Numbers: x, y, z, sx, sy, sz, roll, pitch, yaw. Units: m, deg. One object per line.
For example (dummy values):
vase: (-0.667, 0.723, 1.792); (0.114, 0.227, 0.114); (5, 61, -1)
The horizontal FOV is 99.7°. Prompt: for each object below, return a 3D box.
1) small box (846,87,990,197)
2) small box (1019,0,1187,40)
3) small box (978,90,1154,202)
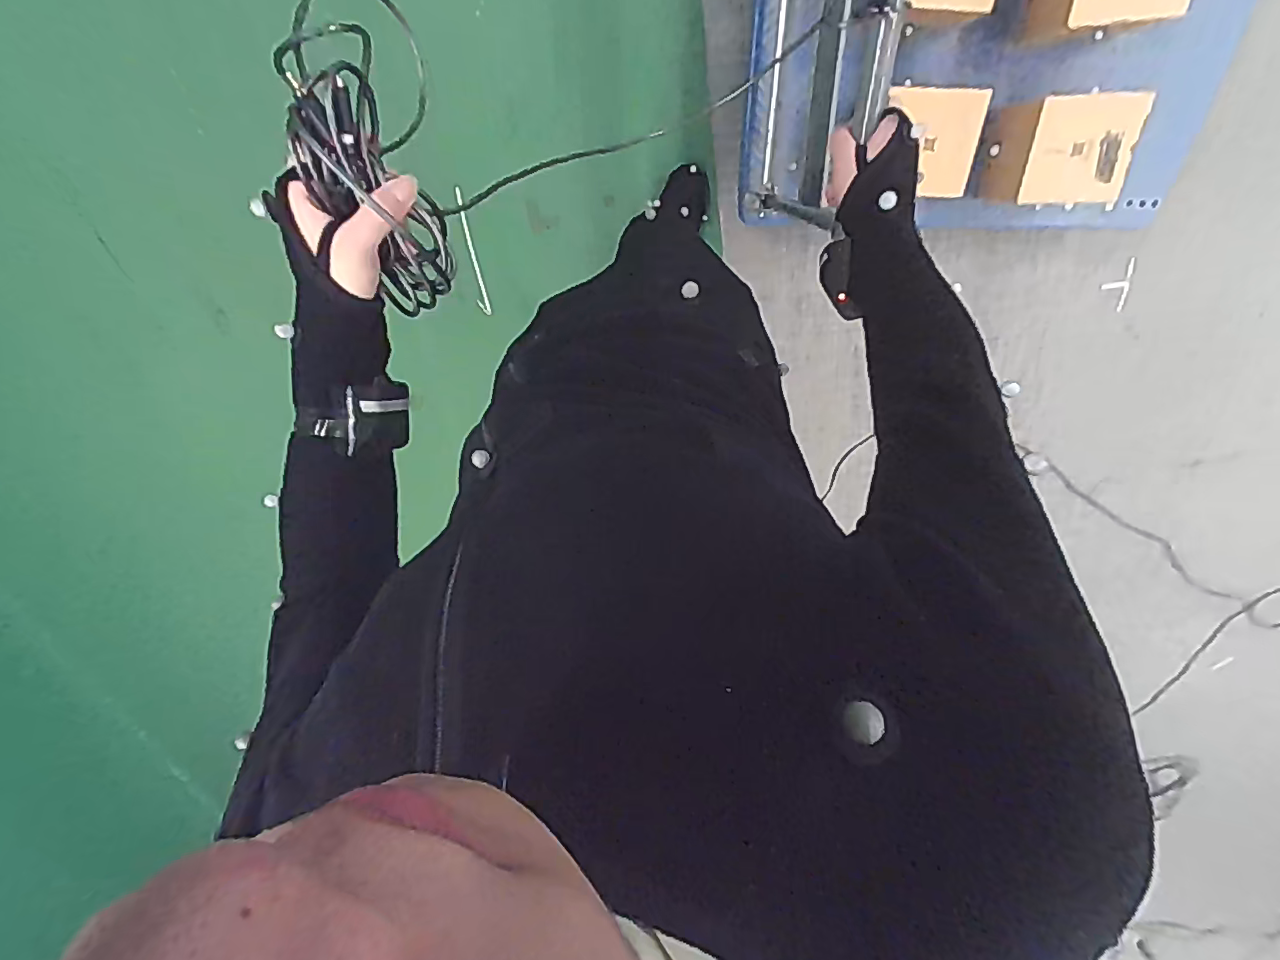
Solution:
small box: (0.513, -0.637, 1.027); (0.179, 0.176, 0.168); (4, 120, 5)
small box: (0.764, -0.840, 0.881); (0.179, 0.176, 0.168); (-1, 121, 7)
small box: (0.776, -0.618, 1.009); (0.179, 0.176, 0.168); (1, 120, 6)
